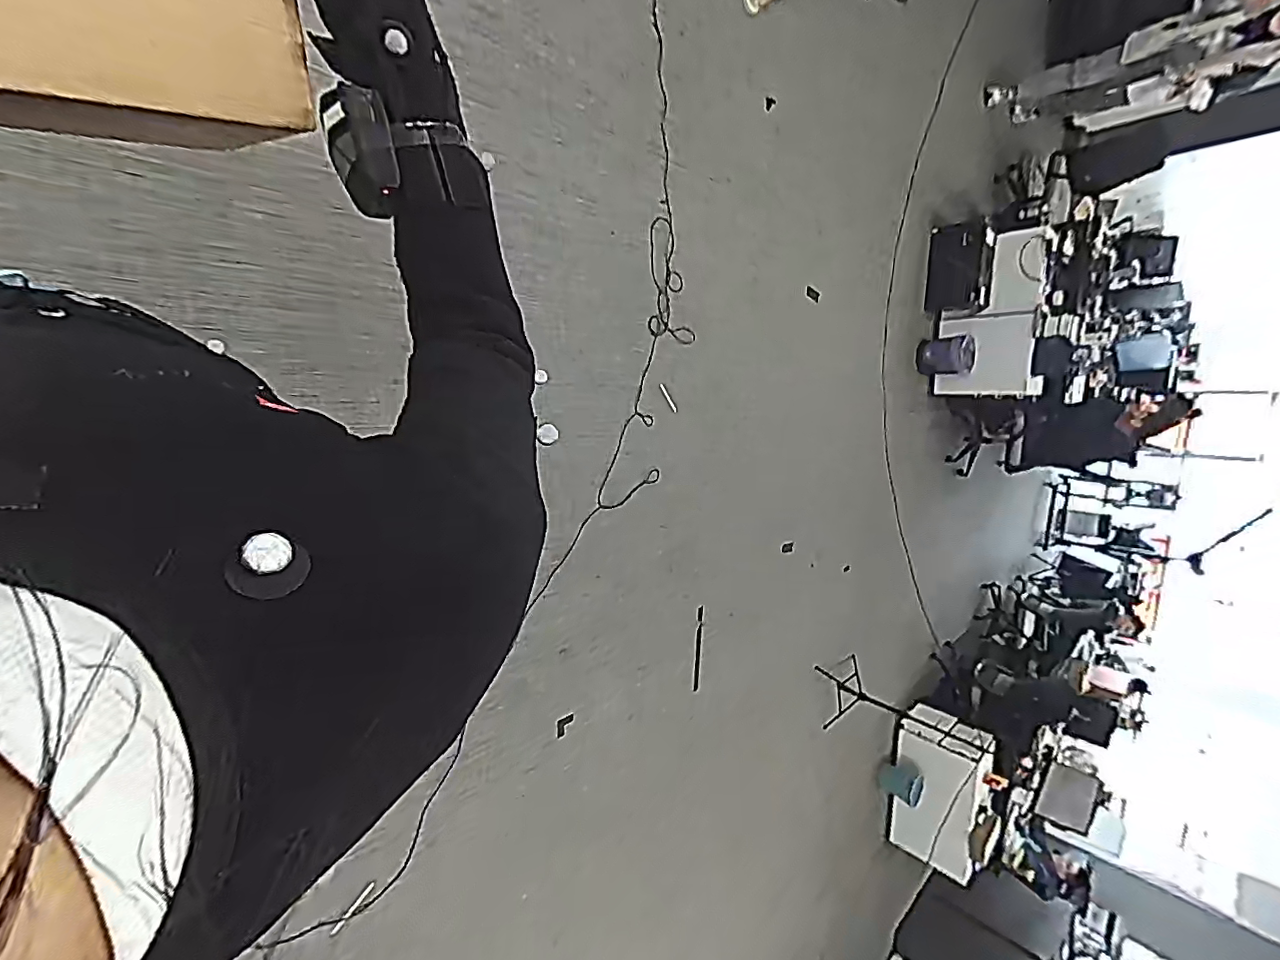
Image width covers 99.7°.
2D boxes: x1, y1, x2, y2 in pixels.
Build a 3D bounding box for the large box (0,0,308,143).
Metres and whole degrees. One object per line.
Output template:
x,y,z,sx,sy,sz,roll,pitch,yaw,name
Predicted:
-0.464,-0.375,0.271,0.408,0.320,0.320,-21,126,-39,large box
